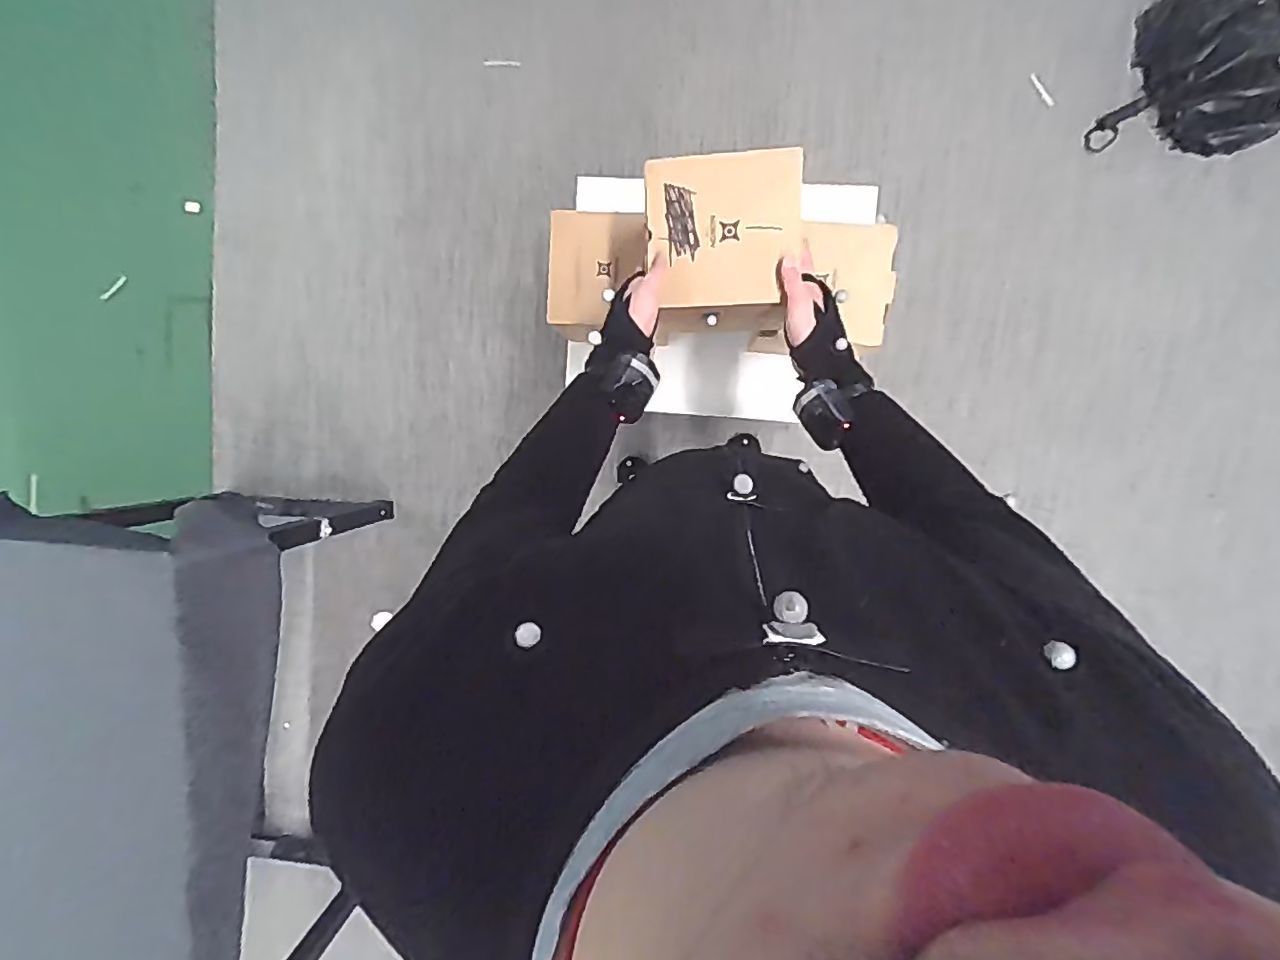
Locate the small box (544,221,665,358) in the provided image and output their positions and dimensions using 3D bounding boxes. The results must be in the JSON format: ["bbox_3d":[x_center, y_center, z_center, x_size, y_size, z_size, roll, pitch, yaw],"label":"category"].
[{"bbox_3d":[-0.046,-0.289,0.852,0.179,0.176,0.168,2,93,3],"label":"small box"}]

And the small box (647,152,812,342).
[{"bbox_3d":[0.106,-0.269,0.665,0.179,0.176,0.168,-2,94,5],"label":"small box"}]

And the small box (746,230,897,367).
[{"bbox_3d":[0.267,-0.269,0.833,0.179,0.176,0.168,5,95,5],"label":"small box"}]
